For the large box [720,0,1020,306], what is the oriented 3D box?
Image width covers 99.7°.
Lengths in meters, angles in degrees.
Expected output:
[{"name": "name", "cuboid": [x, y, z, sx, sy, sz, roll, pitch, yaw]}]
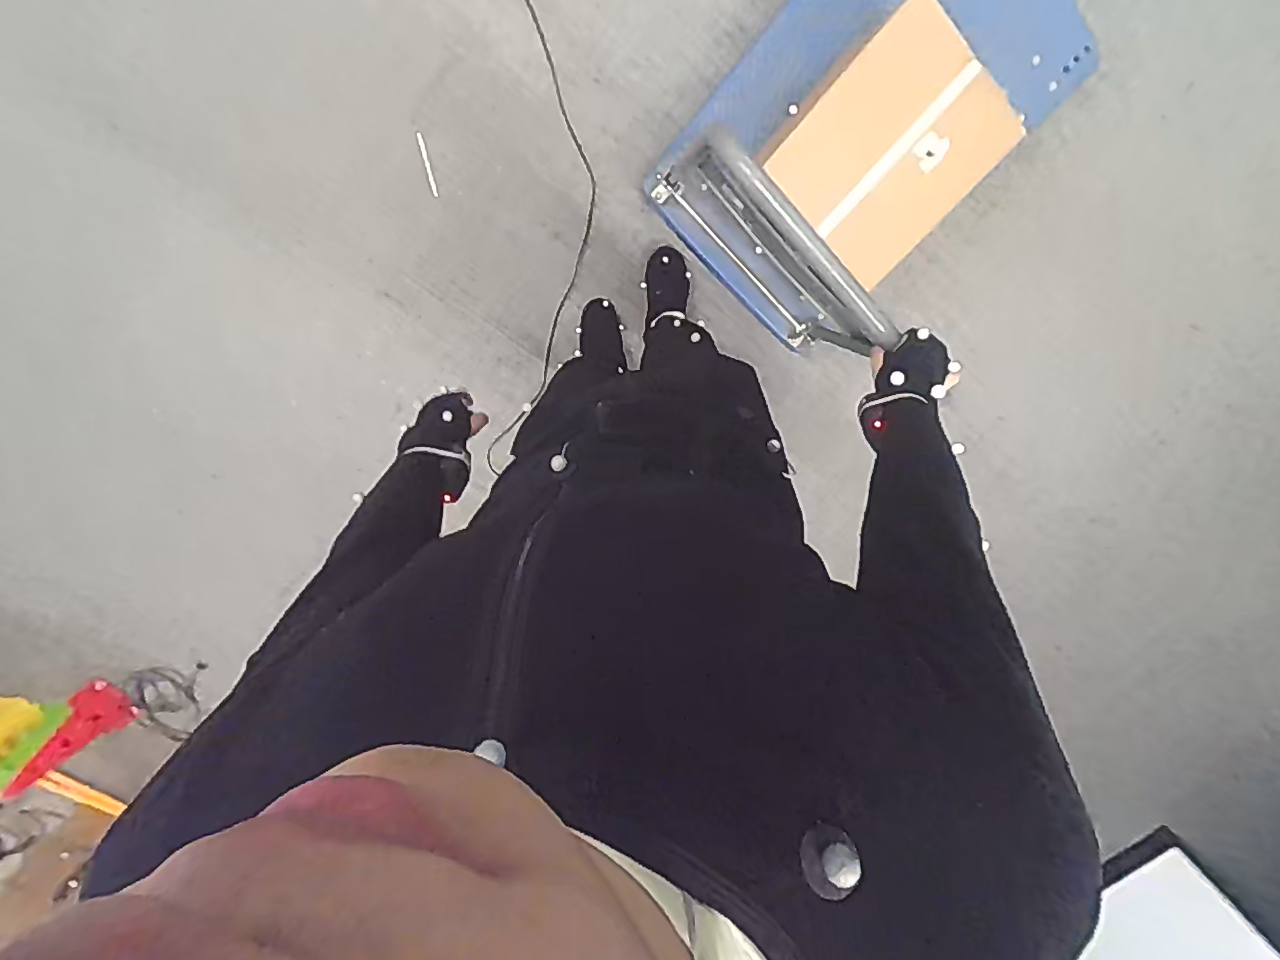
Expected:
[{"name": "large box", "cuboid": [0.425, -0.621, 1.101, 0.320, 0.320, 0.408, 39, 106, -17]}]
